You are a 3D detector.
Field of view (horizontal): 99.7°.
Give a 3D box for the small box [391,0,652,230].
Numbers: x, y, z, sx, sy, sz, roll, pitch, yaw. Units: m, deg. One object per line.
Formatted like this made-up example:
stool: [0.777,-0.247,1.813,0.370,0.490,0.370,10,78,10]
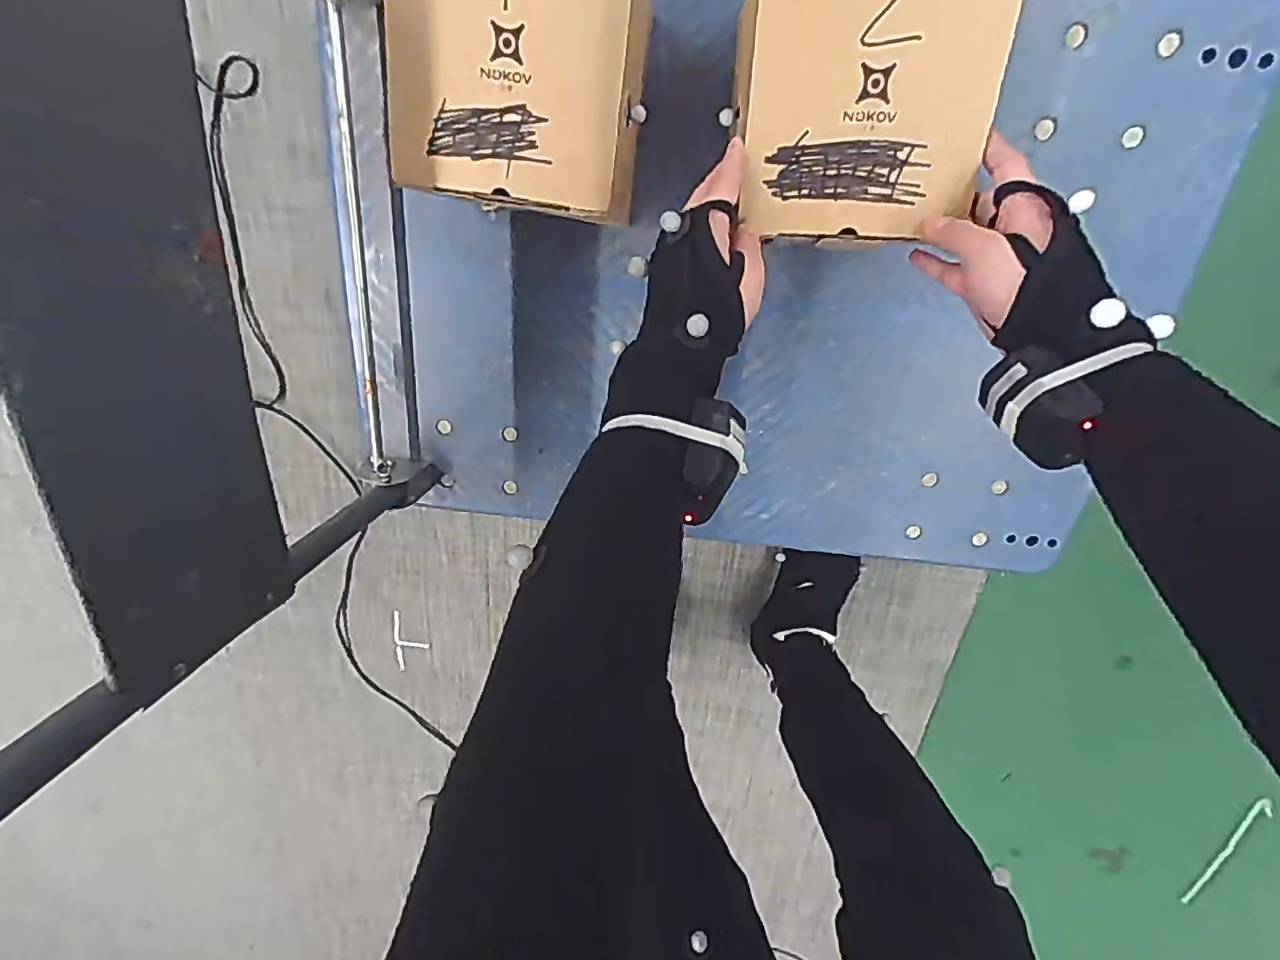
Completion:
small box: [-0.083,-0.312,0.443,0.168,0.176,0.179,9,112,0]
